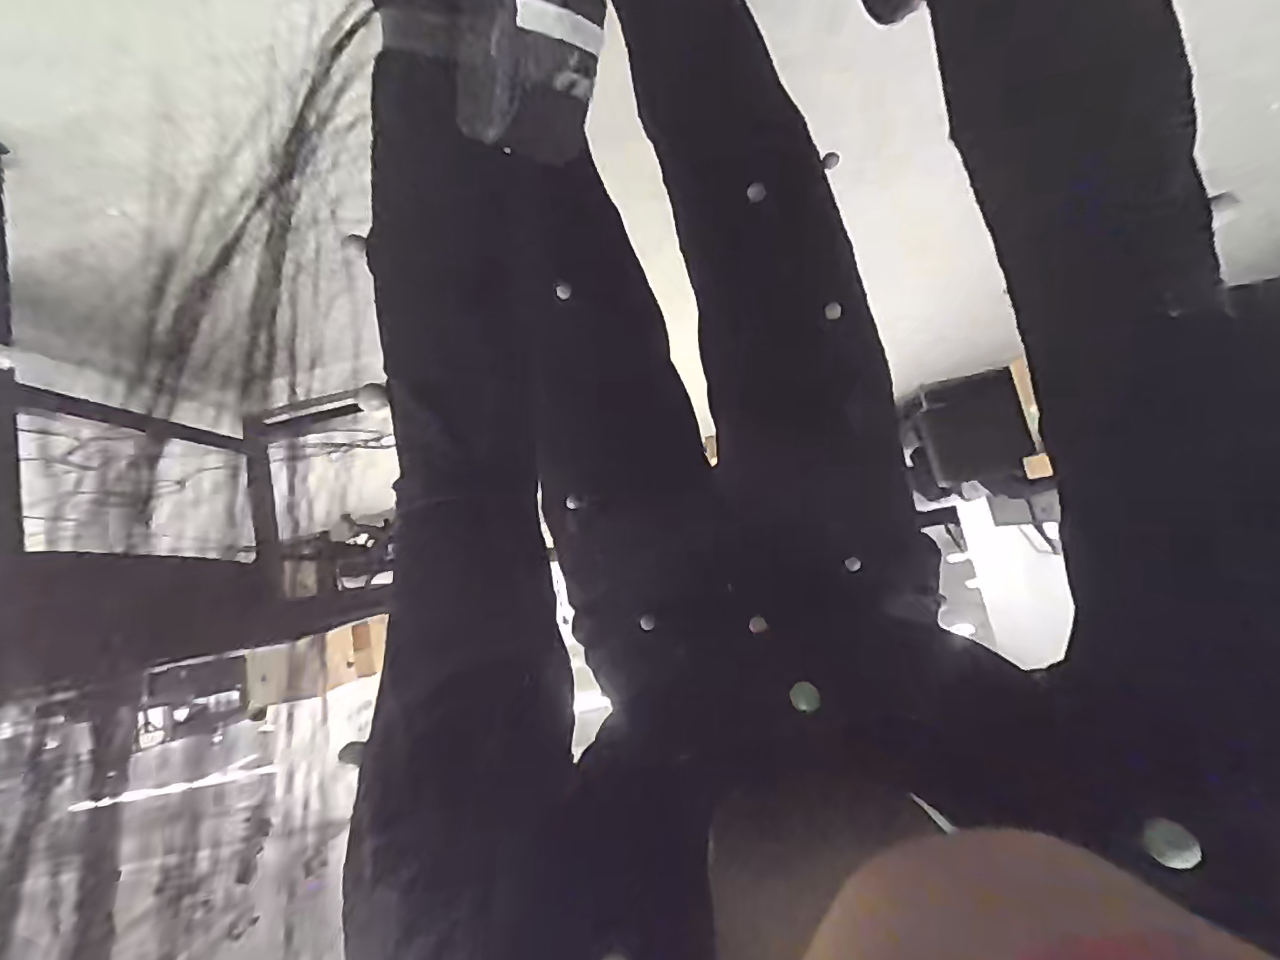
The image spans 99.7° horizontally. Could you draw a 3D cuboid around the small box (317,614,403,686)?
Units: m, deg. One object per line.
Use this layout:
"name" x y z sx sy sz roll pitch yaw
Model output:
"small box" -0.840 0.503 1.623 0.179 0.176 0.168 -11 171 4
